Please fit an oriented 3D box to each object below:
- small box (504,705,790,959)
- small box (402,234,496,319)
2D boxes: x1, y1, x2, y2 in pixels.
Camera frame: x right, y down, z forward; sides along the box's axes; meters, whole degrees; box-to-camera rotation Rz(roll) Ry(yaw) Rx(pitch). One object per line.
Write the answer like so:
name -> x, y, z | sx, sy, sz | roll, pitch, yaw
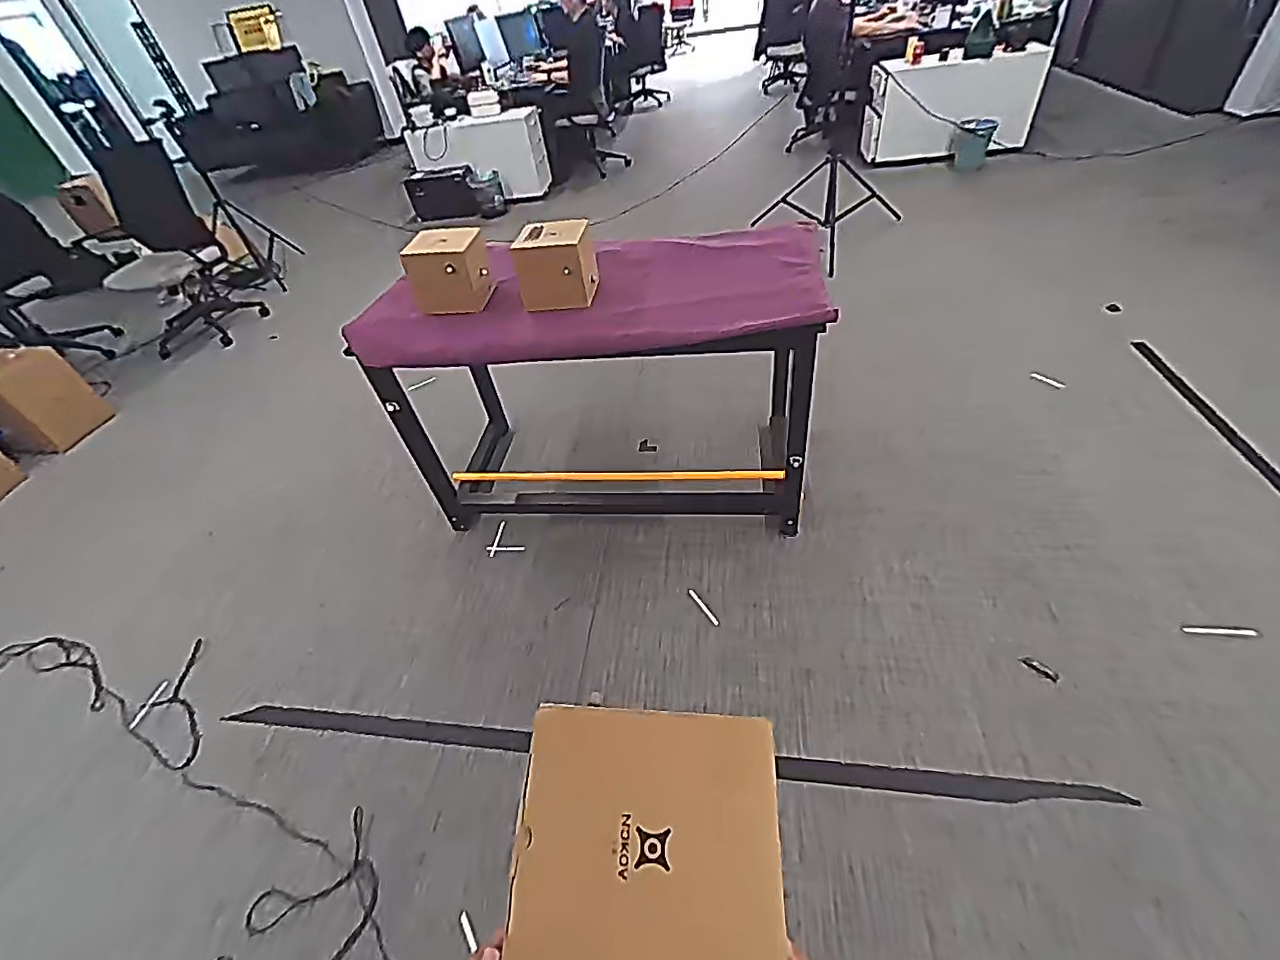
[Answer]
small box -> 0.013, 0.280, 0.426 | 0.179, 0.176, 0.168 | 0, 59, 7
small box -> -0.515, -0.557, 1.489 | 0.179, 0.176, 0.168 | -1, 43, 6
